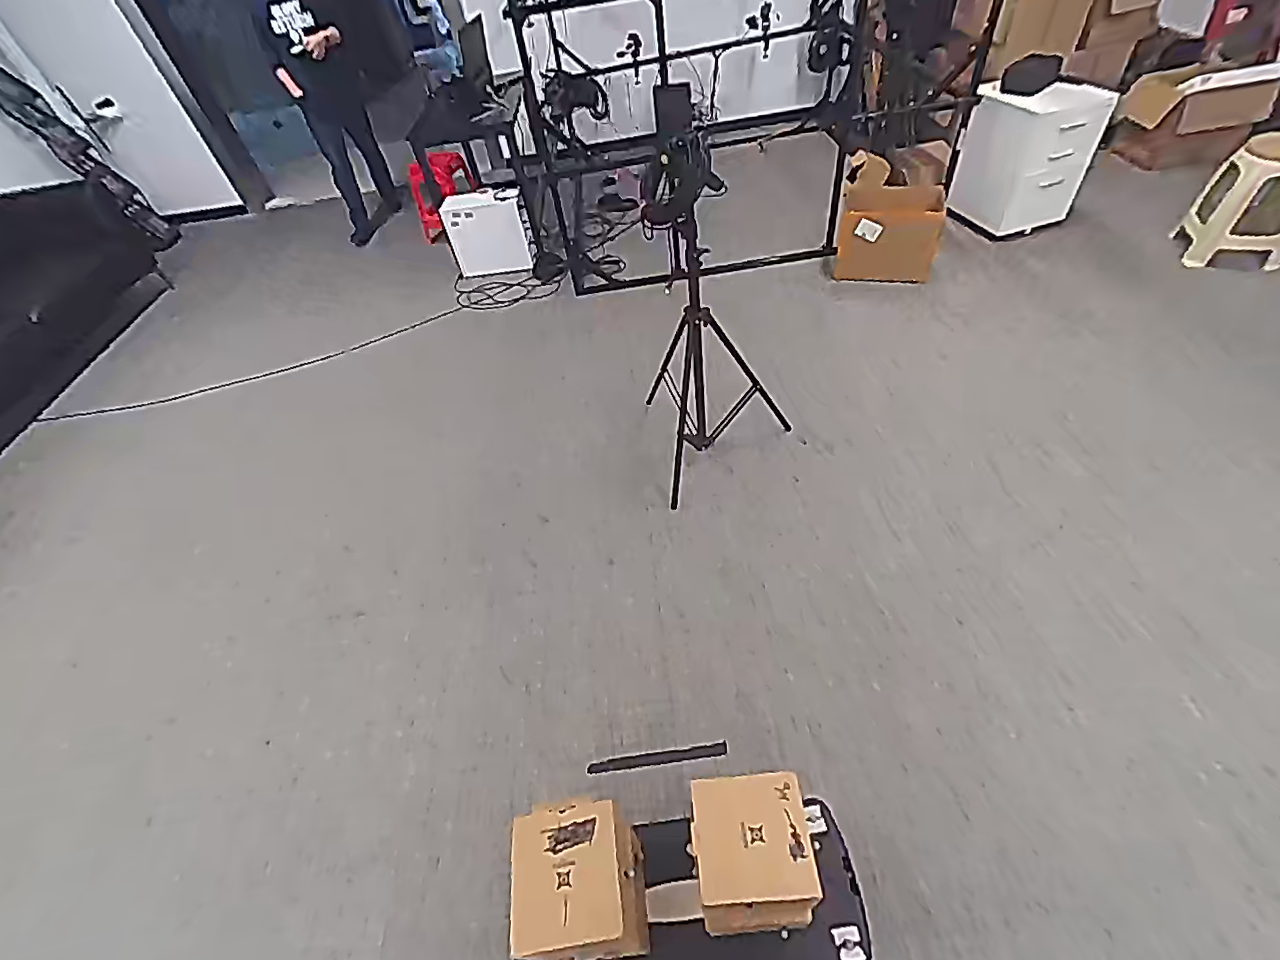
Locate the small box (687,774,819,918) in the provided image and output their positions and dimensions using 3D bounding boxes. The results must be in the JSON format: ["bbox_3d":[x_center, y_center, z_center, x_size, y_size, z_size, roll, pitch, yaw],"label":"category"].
[{"bbox_3d":[0.178,0.596,0.877,0.179,0.176,0.168,-7,47,4],"label":"small box"}]

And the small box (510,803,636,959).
[{"bbox_3d":[-0.103,0.650,0.870,0.168,0.176,0.179,-10,47,0],"label":"small box"}]

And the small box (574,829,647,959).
[{"bbox_3d":[-0.080,0.764,0.986,0.168,0.176,0.179,-9,47,1],"label":"small box"}]

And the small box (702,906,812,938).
[{"bbox_3d":[0.198,0.720,0.984,0.179,0.176,0.168,-9,46,4],"label":"small box"}]
